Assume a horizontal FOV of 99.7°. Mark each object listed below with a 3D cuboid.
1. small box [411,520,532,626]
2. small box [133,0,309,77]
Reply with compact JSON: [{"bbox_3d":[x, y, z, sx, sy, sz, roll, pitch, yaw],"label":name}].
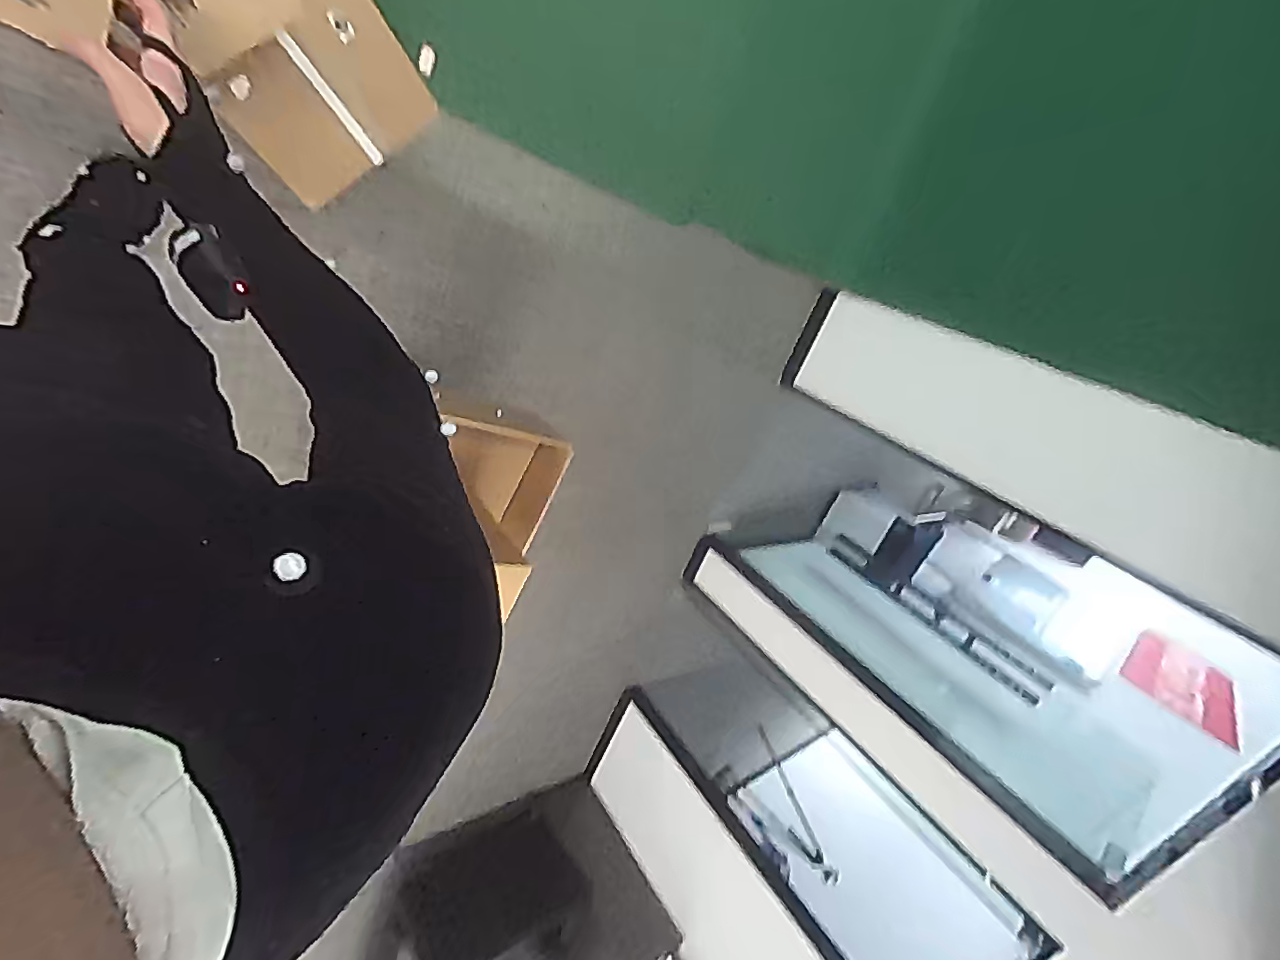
[{"bbox_3d":[-0.378,0.203,1.206,0.179,0.176,0.168,12,112,-47],"label":"small box"},{"bbox_3d":[-0.582,-0.667,0.710,0.179,0.176,0.168,-41,142,-9],"label":"small box"}]
